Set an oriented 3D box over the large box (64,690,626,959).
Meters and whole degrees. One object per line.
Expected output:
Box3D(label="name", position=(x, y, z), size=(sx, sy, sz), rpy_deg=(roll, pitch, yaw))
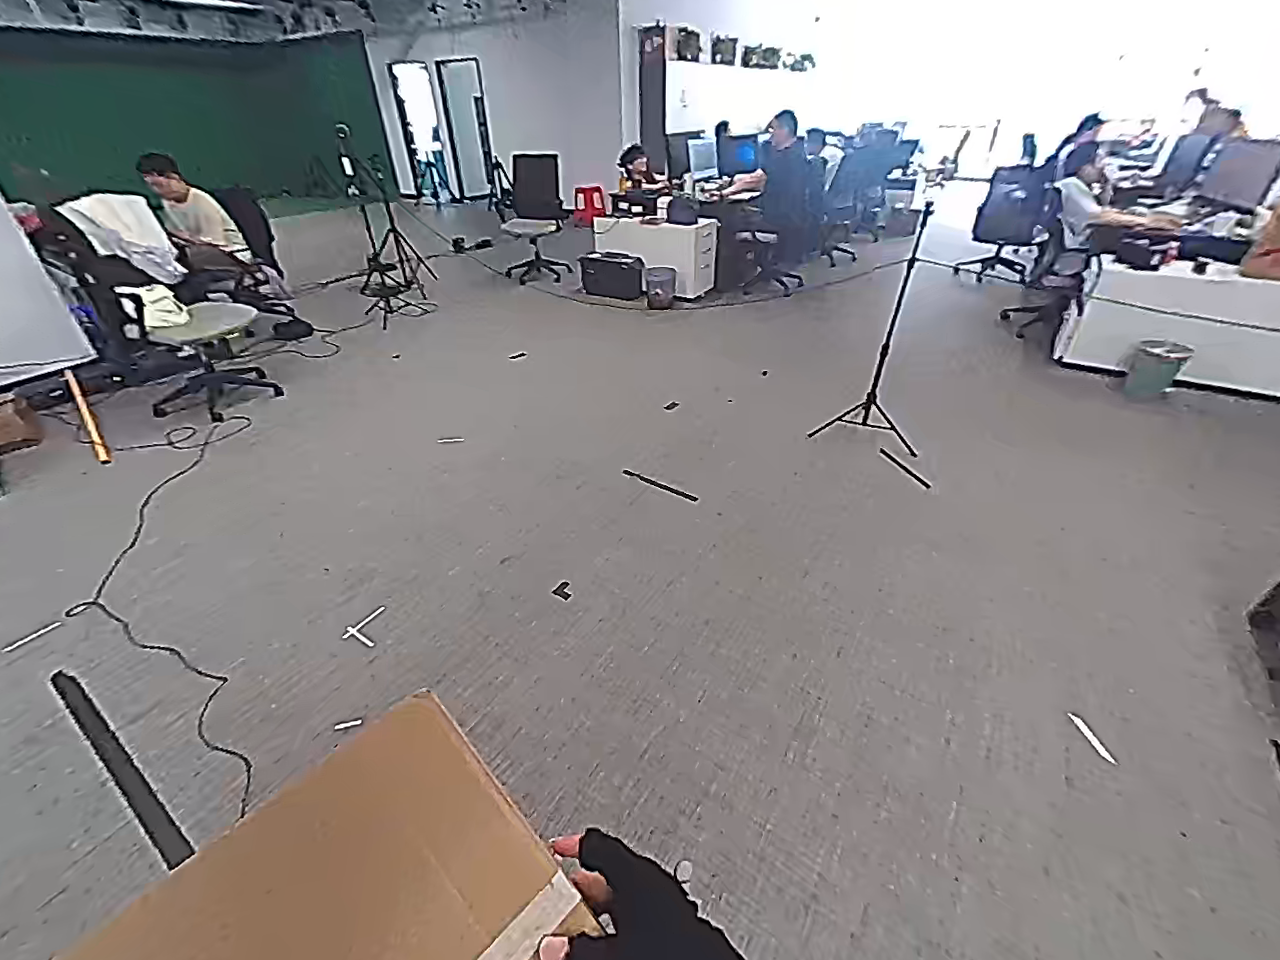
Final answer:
Box3D(label="large box", position=(-0.229, 0.426, 0.372), size=(0.408, 0.320, 0.320), rpy_deg=(-35, 77, -30))
